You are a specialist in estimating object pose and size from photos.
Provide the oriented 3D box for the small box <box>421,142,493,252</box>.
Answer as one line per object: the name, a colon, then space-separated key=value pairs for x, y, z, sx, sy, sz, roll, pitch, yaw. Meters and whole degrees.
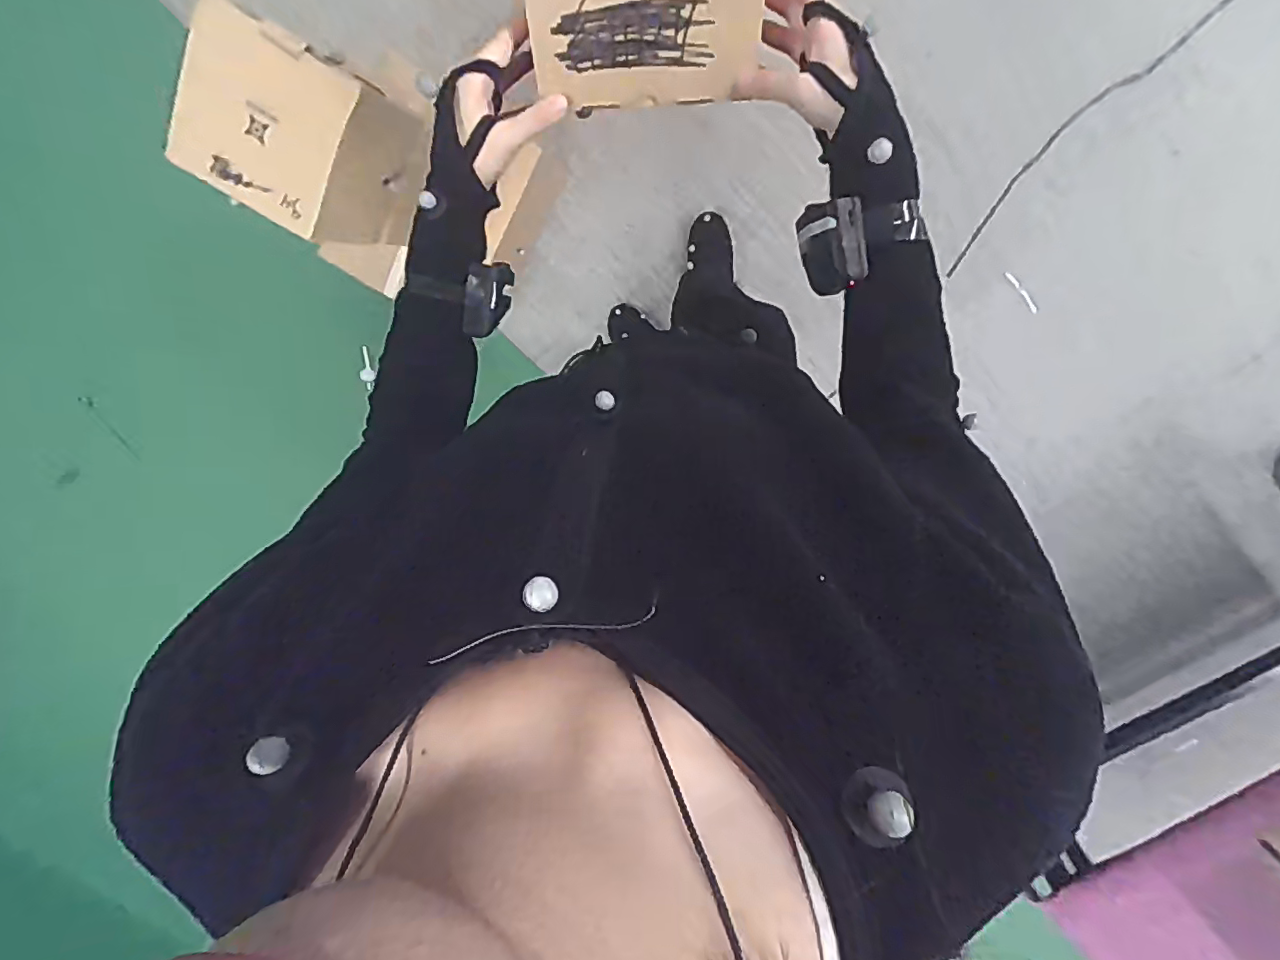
small box: x=-0.383 y=-0.523 z=0.947 sx=0.179 sy=0.176 sz=0.168 roll=30 pitch=109 yaw=-10

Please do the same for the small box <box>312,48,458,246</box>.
small box: x=-0.389 y=-0.467 z=0.793 sx=0.168 sy=0.176 sz=0.179 roll=29 pitch=110 yaw=-9

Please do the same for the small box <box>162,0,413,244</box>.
small box: x=-0.398 y=-0.406 z=0.641 sx=0.168 sy=0.176 sz=0.179 roll=30 pitch=108 yaw=-9

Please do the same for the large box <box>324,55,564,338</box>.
large box: x=-0.407 y=-0.587 z=1.185 sx=0.320 sy=0.320 sz=0.408 roll=30 pitch=111 yaw=-8
